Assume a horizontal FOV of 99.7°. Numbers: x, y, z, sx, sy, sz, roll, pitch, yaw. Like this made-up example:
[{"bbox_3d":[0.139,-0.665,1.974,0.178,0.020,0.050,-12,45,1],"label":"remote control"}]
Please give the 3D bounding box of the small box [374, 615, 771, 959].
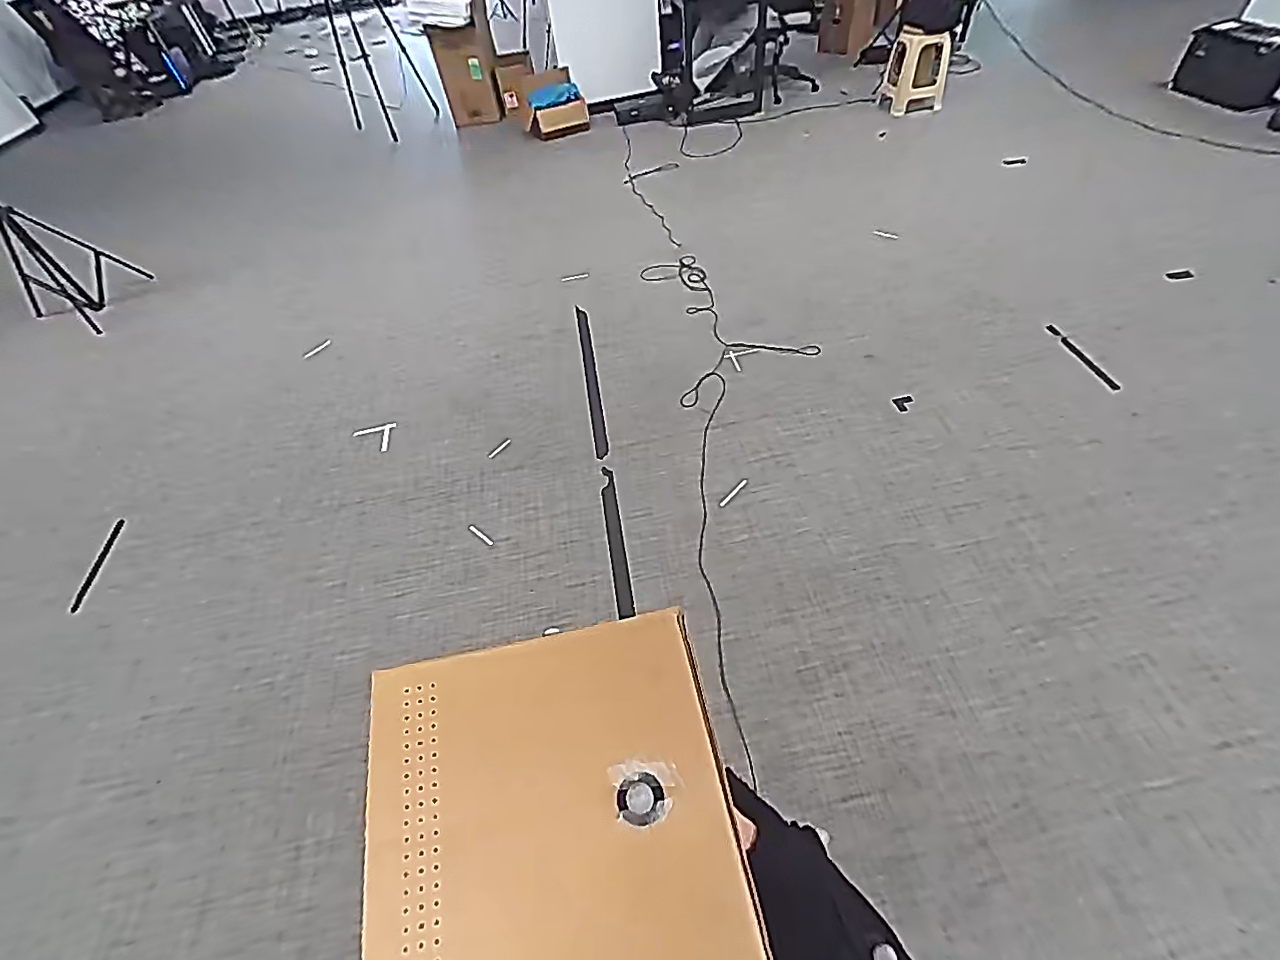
[{"bbox_3d":[-0.039,0.203,0.322,0.176,0.168,0.179,-11,60,-4],"label":"small box"}]
